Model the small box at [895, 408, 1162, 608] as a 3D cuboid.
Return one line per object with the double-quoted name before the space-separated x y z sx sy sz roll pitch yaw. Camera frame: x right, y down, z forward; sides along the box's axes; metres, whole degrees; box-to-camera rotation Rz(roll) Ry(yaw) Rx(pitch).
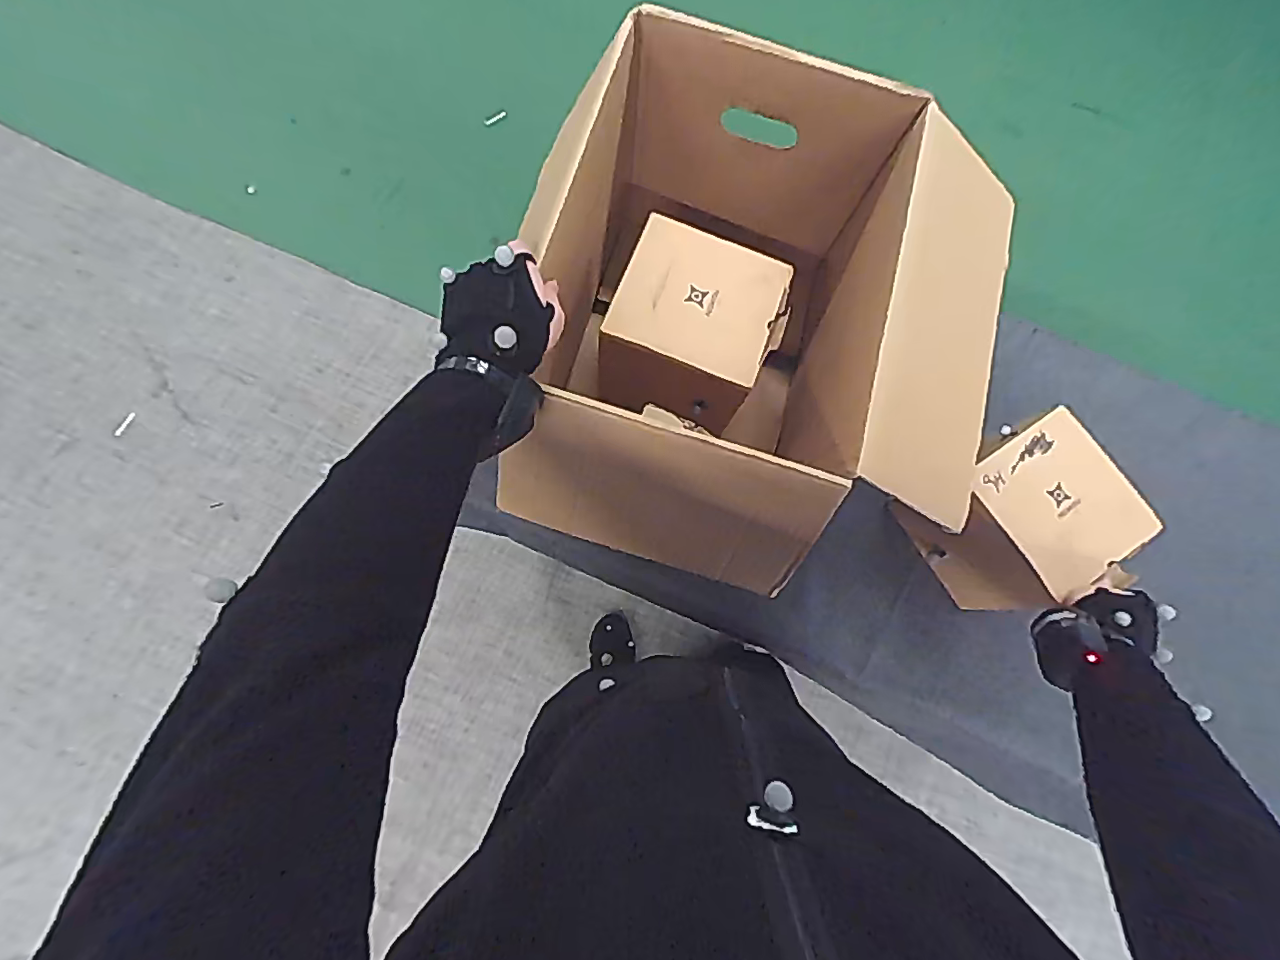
"small box" 0.469 0.040 0.684 0.168 0.176 0.179 -30 82 -8
